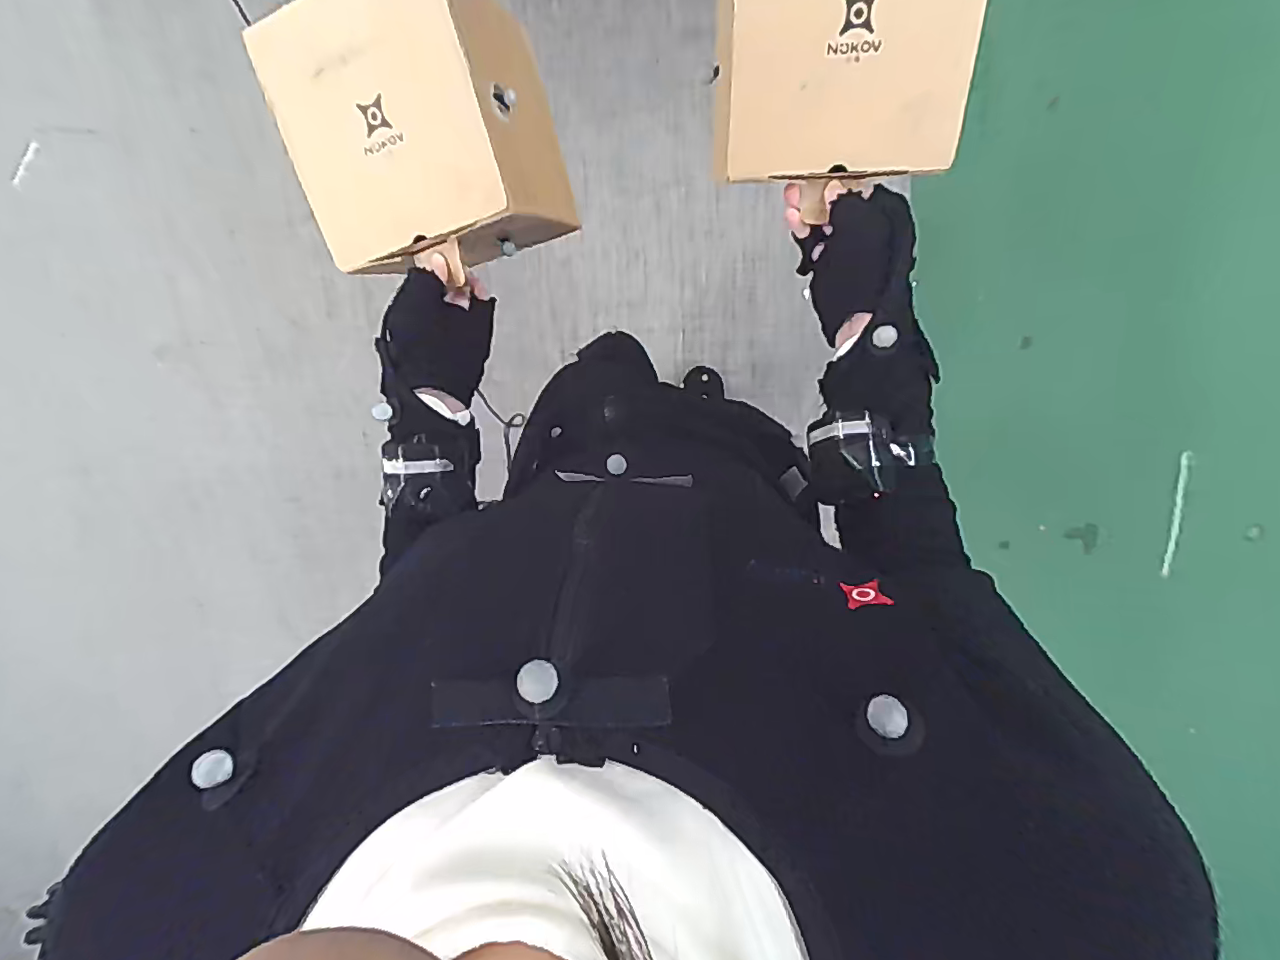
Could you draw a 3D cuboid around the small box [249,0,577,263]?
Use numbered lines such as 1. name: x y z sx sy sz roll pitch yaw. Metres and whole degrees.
1. small box: -0.172 -0.302 0.472 0.168 0.176 0.179 -12 107 16
